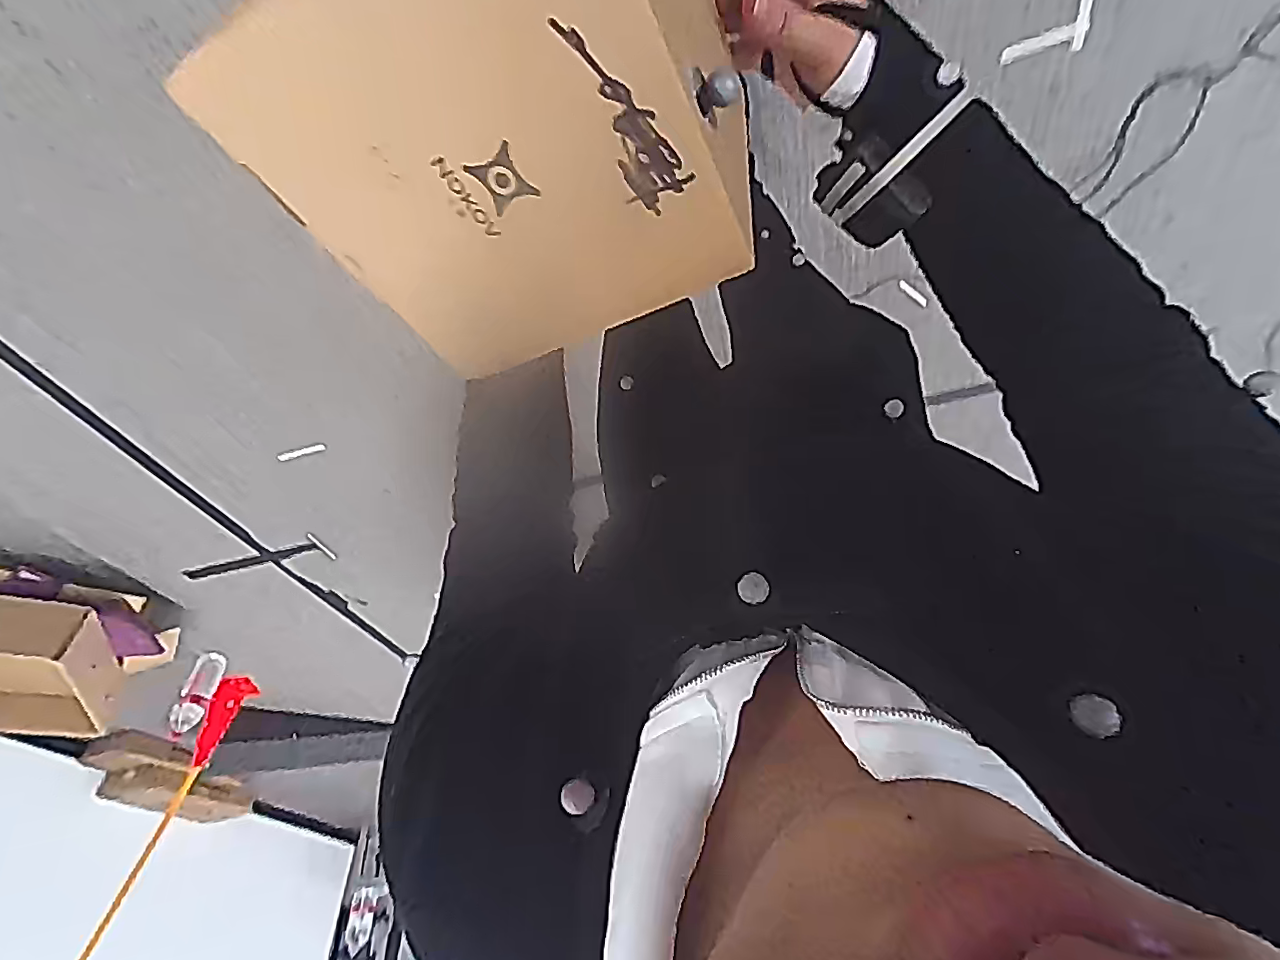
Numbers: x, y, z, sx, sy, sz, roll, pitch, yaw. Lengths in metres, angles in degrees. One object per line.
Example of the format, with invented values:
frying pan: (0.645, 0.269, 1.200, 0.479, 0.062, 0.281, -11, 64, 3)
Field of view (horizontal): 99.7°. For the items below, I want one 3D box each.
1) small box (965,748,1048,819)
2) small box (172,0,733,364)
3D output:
small box: (1.229, 1.024, 1.829, 0.168, 0.176, 0.179, -15, 136, 9)
small box: (-0.060, -0.194, 0.269, 0.179, 0.176, 0.168, -13, 142, 26)
